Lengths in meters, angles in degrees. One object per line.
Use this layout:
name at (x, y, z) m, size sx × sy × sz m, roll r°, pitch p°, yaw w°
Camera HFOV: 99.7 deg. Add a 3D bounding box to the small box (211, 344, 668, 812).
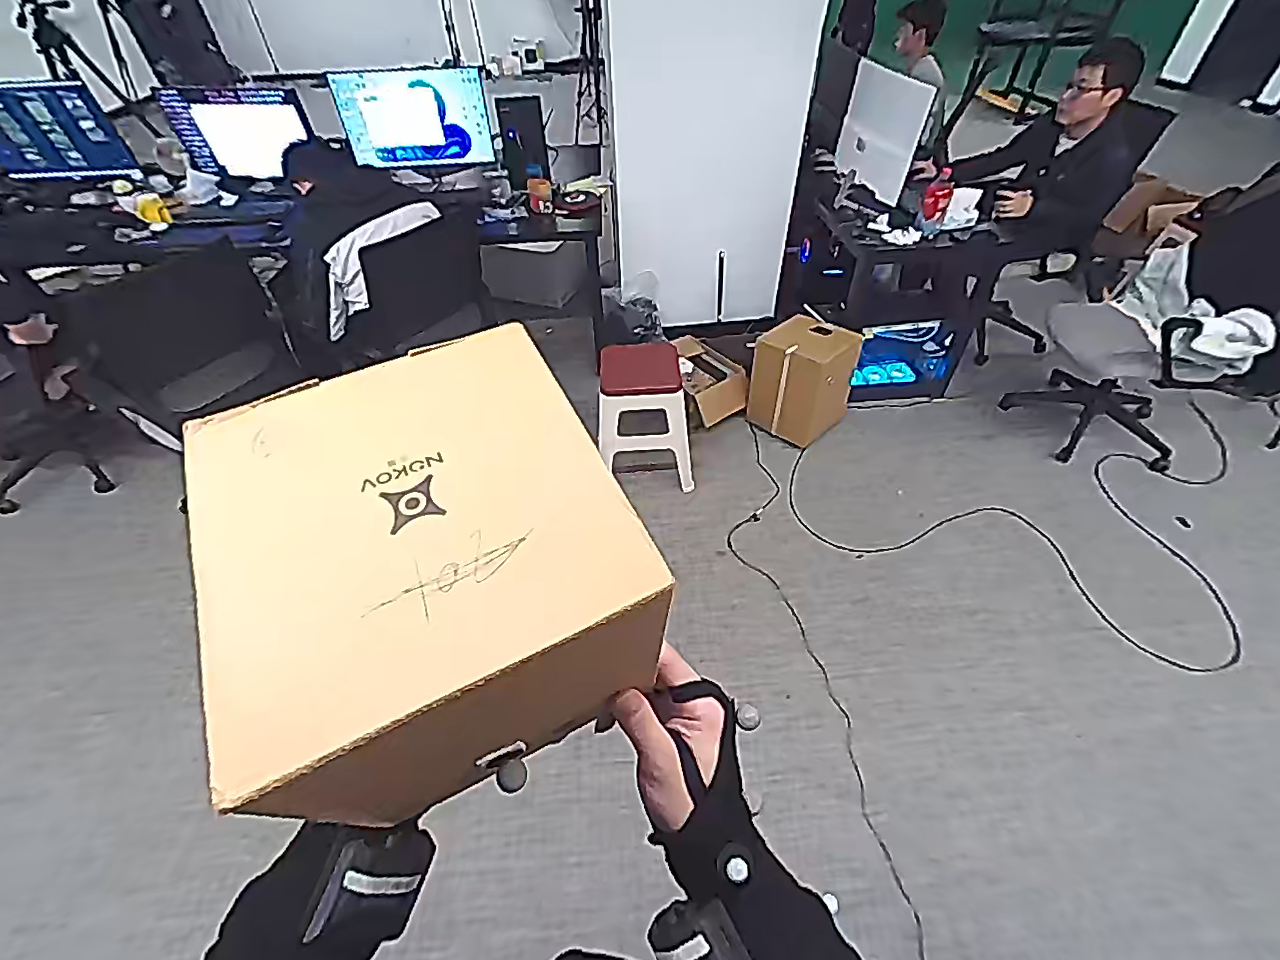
small box at (-0.100, 0.060, 0.310) m, size 0.168 × 0.176 × 0.179 m, roll -24°, pitch 59°, yaw -16°
